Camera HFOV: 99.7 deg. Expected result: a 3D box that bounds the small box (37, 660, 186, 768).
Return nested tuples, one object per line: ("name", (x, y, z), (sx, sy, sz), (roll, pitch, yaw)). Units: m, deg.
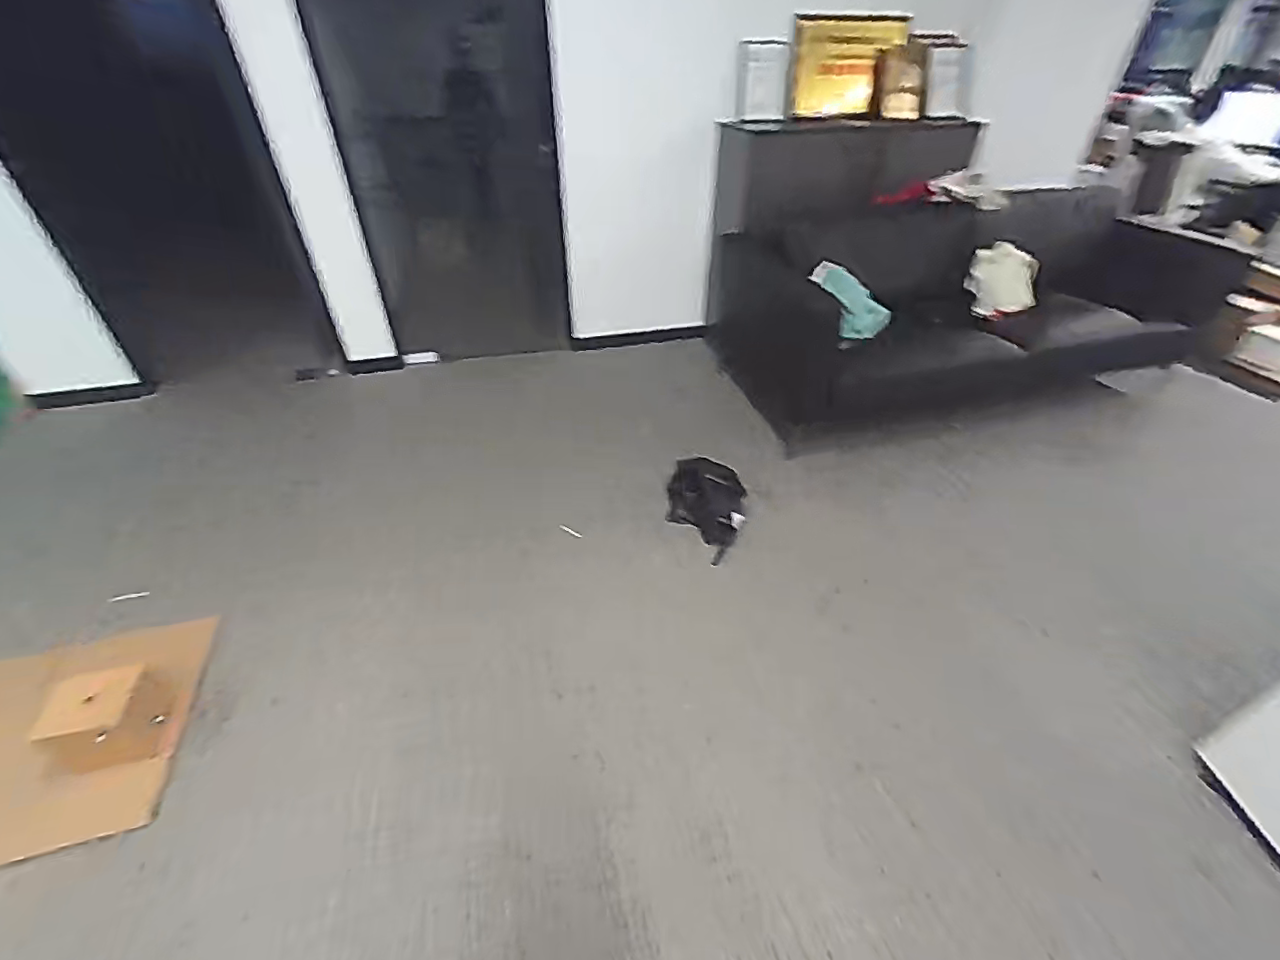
("small box", (-1.284, 0.578, 1.332), (0.179, 0.176, 0.168), (-9, 39, -12))
